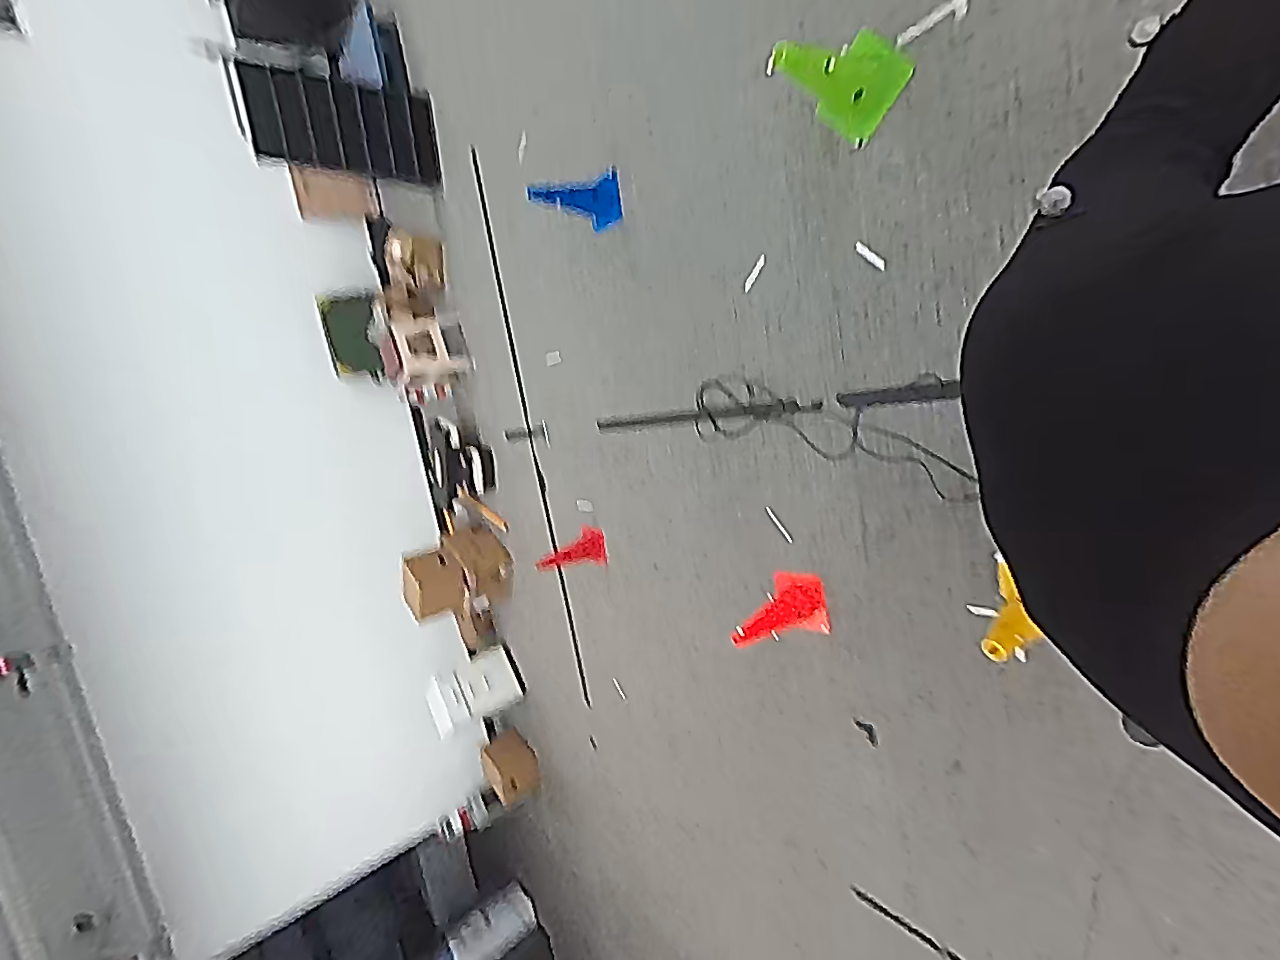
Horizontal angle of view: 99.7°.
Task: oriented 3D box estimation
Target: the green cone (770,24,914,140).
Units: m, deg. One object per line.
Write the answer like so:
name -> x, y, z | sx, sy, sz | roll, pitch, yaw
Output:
green cone -> 0.440, -0.983, 1.281 | 0.202, 0.368, 0.200 | 58, 139, 22

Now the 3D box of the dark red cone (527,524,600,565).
dark red cone -> -0.401, 0.373, 2.810 | 0.202, 0.394, 0.201 | 10, 109, 50

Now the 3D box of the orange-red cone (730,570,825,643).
orange-red cone -> 0.434, 0.458, 1.816 | 0.199, 0.360, 0.198 | -3, 101, 51

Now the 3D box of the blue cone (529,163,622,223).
blue cone -> -0.266, -1.155, 2.149 | 0.193, 0.380, 0.192 | 6, 106, 51
